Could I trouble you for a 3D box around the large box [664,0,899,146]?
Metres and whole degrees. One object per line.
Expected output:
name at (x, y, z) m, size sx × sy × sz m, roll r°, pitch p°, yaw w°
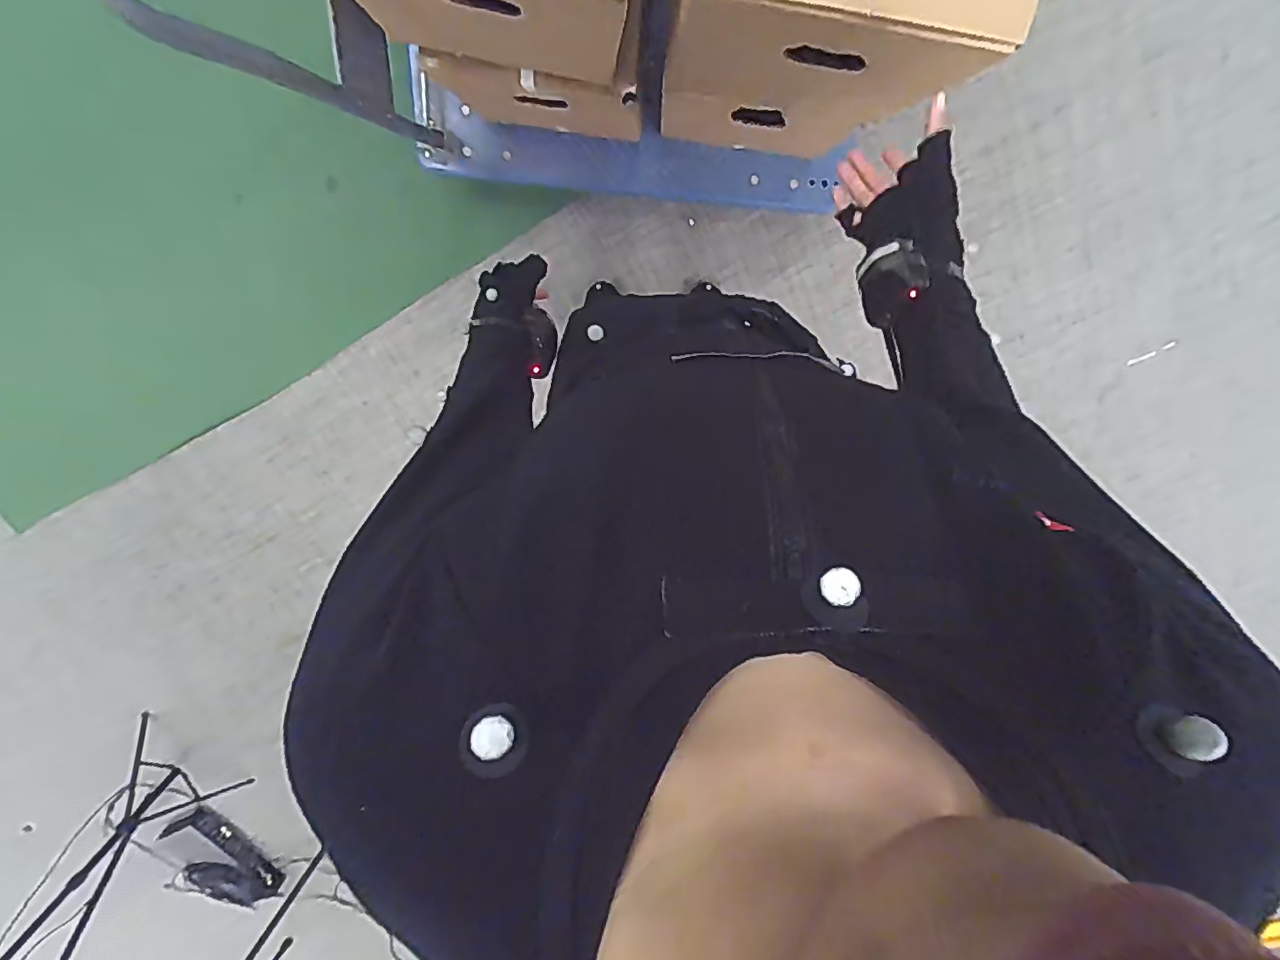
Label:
large box at (0.211, -0.788, 0.840) m, size 0.320 × 0.320 × 0.408 m, roll 7°, pitch 114°, yaw 1°
